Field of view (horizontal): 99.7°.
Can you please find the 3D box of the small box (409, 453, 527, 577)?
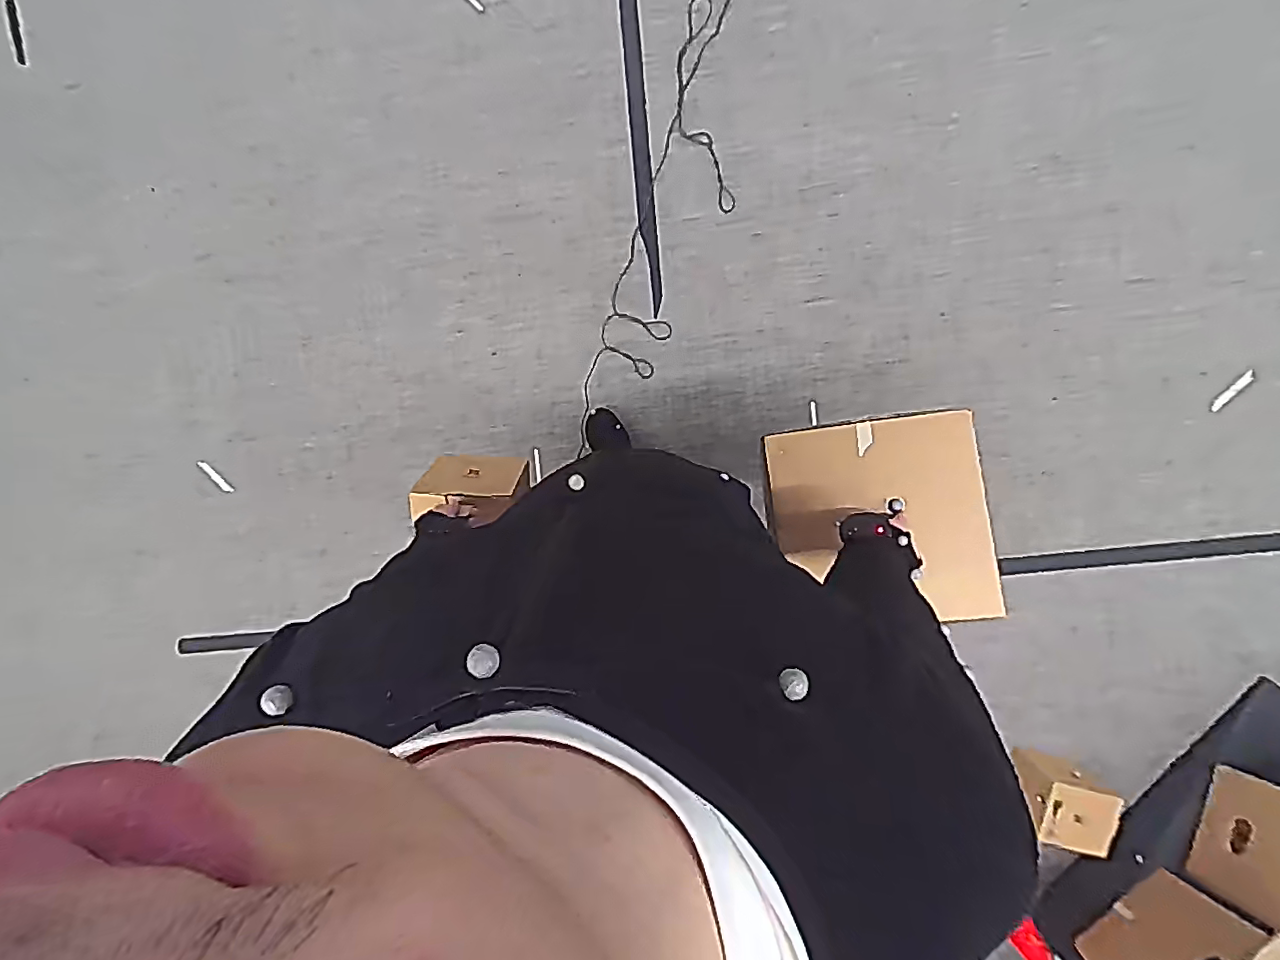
[{"bbox_3d":[-0.301,0.062,0.990,0.168,0.179,0.176,3,114,-3],"label":"small box"}]
